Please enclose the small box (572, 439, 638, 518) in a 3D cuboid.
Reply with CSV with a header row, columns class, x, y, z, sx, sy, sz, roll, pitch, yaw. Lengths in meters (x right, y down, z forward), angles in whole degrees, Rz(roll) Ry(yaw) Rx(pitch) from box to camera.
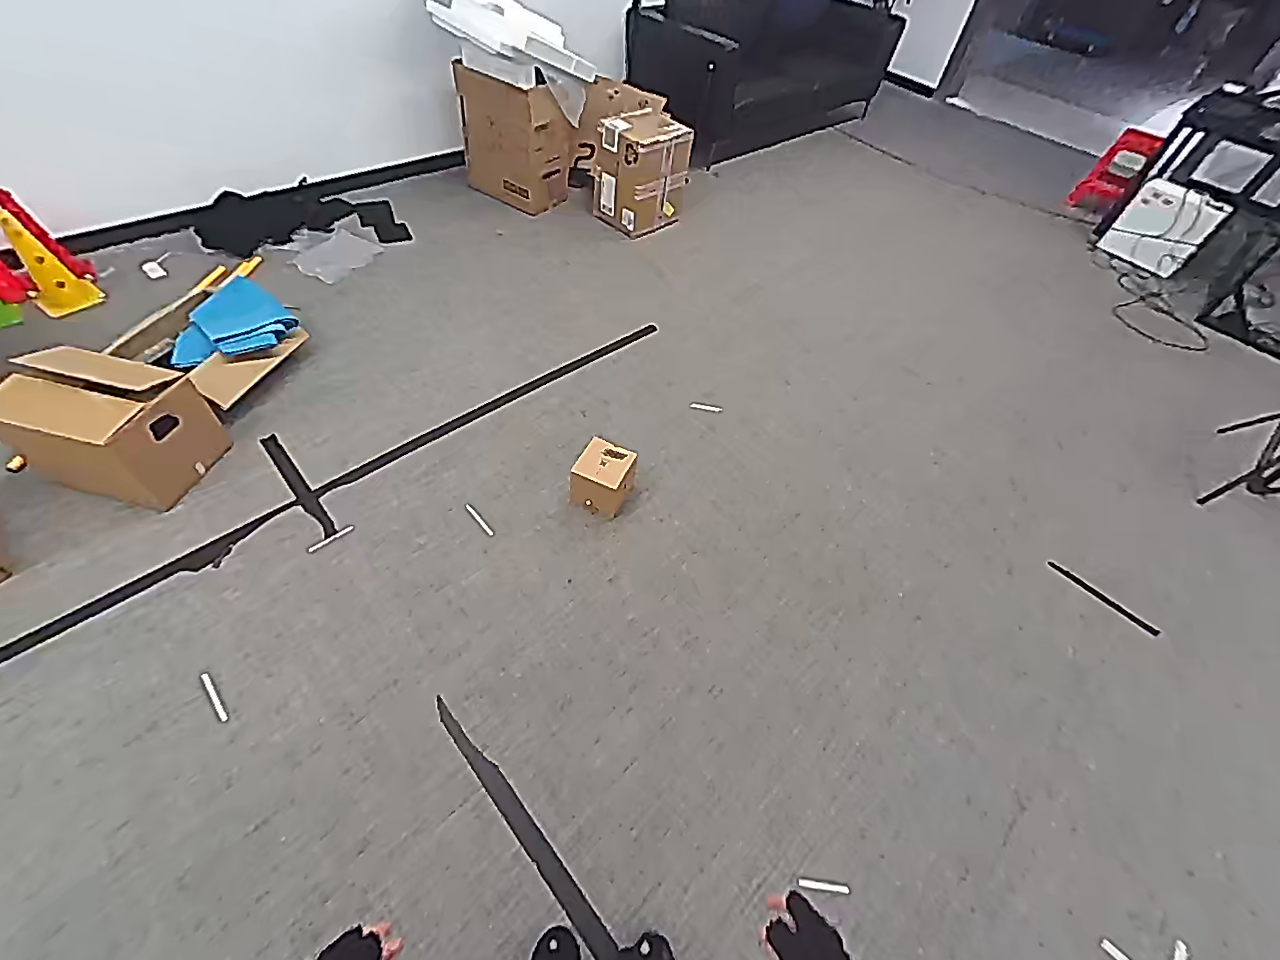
class,x,y,z,sx,sy,sz,roll,pitch,yaw
small box,-0.121,-0.003,1.834,0.168,0.176,0.179,22,53,11
